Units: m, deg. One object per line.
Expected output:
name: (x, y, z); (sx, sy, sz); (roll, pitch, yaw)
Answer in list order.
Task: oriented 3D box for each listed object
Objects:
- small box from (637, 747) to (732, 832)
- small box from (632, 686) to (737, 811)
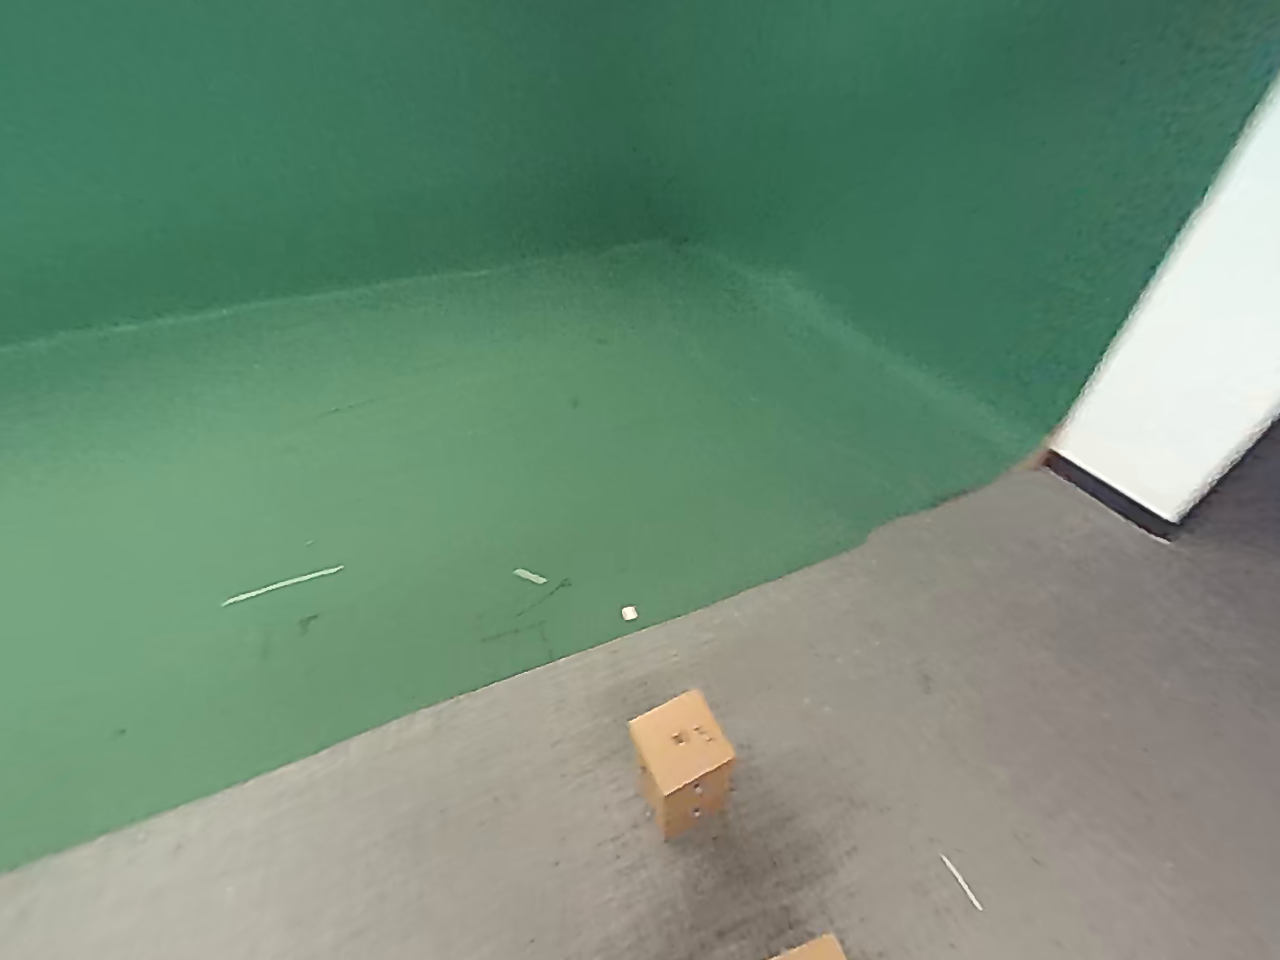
small box: (0.105, 0.721, 1.318); (0.179, 0.176, 0.168); (-18, 46, -16)
small box: (0.096, 0.601, 1.205); (0.179, 0.176, 0.168); (-19, 47, -17)
